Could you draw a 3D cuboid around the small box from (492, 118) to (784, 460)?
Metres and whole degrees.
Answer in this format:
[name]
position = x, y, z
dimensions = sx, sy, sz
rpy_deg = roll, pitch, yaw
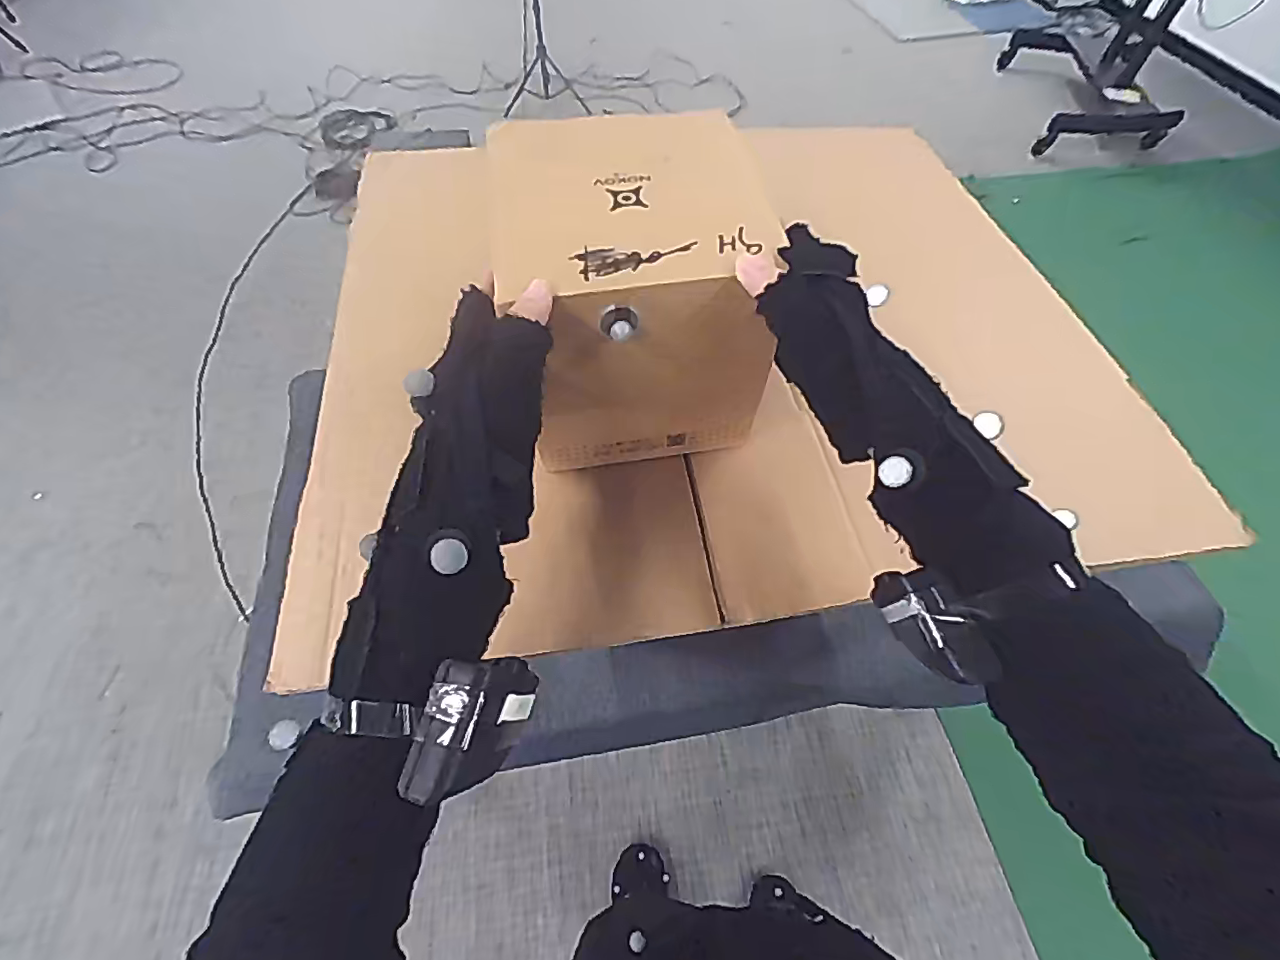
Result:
[small box]
position = -0.012, -0.138, 0.409
dimensions = 0.168, 0.176, 0.179
rpy_deg = -8, 58, -5
